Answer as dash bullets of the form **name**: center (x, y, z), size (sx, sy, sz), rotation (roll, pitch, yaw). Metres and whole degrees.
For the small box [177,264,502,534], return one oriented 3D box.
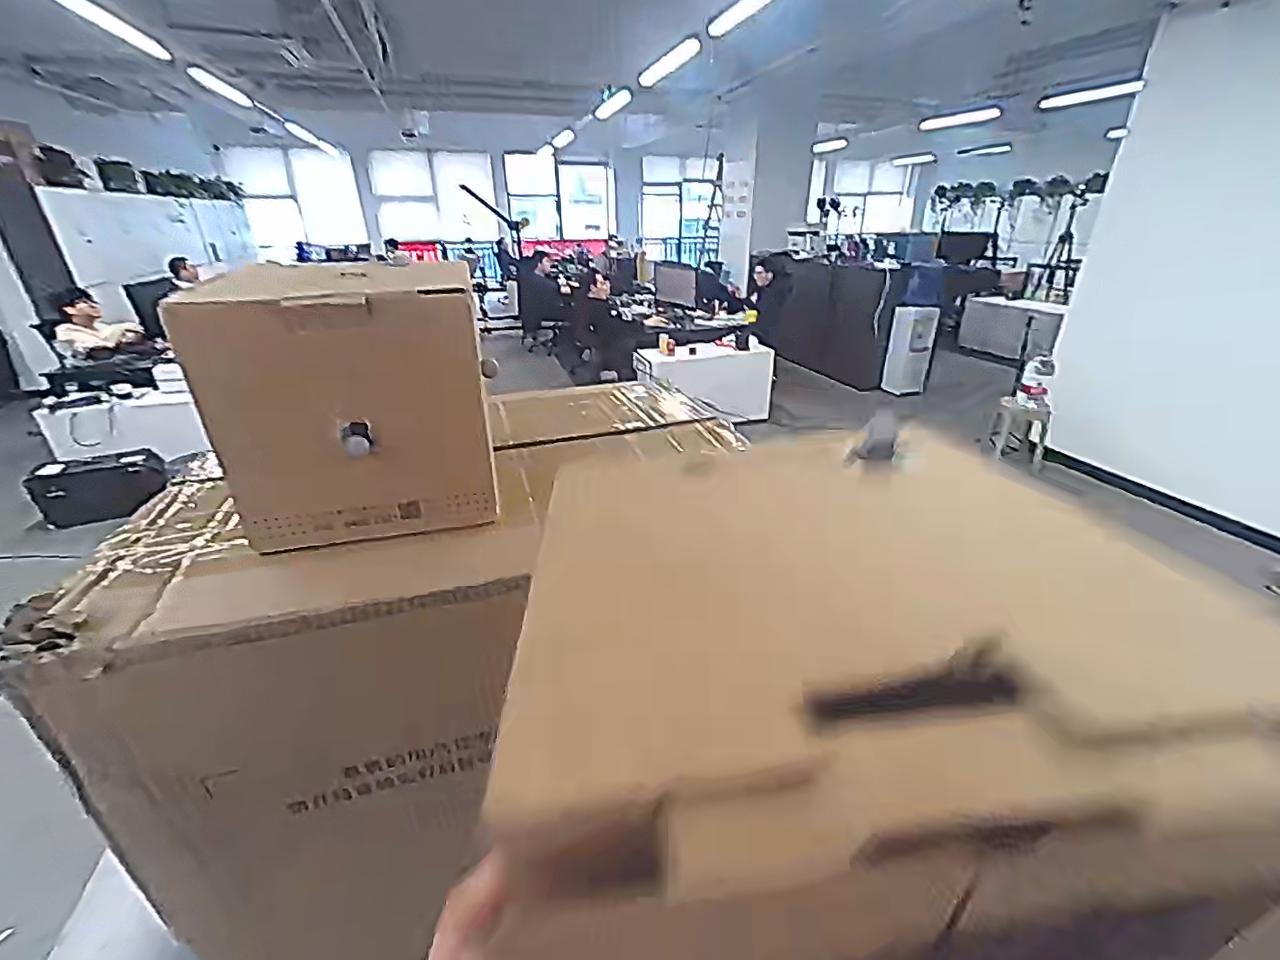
- **small box**: center (-0.205, -0.069, 0.429), size (0.168, 0.176, 0.179), rotation (-7, 29, -15)
